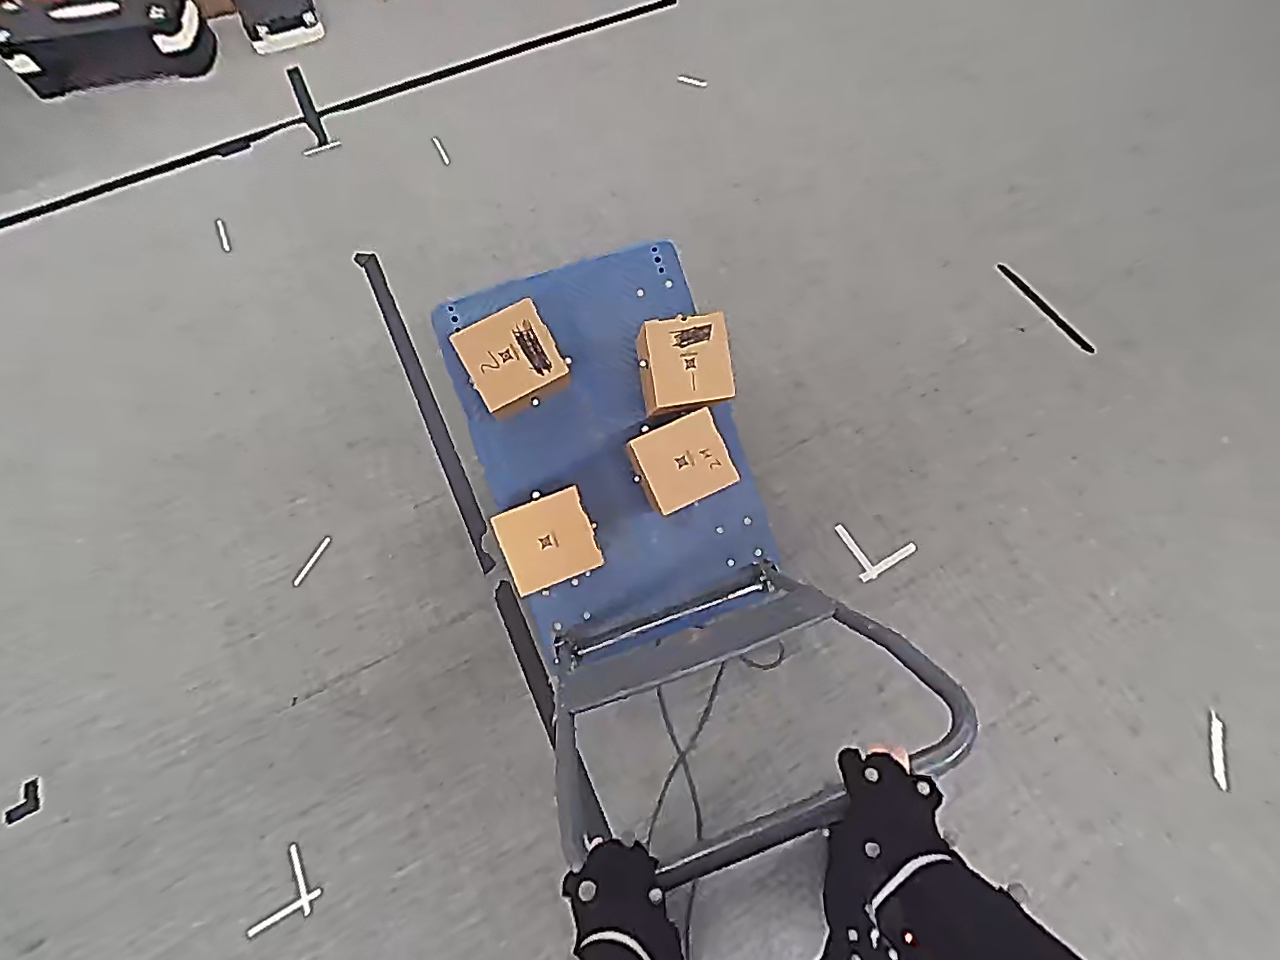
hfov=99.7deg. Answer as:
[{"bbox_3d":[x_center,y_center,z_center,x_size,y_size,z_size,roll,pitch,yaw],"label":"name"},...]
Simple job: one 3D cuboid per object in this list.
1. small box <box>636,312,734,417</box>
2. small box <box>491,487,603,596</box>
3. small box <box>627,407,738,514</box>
[{"bbox_3d":[0.089,-0.240,1.158,0.168,0.176,0.179,-9,91,-6],"label":"small box"},{"bbox_3d":[-0.187,0.122,1.125,0.179,0.176,0.168,-22,91,-7],"label":"small box"},{"bbox_3d":[0.081,-0.037,1.155,0.179,0.176,0.168,-25,92,-5],"label":"small box"}]
